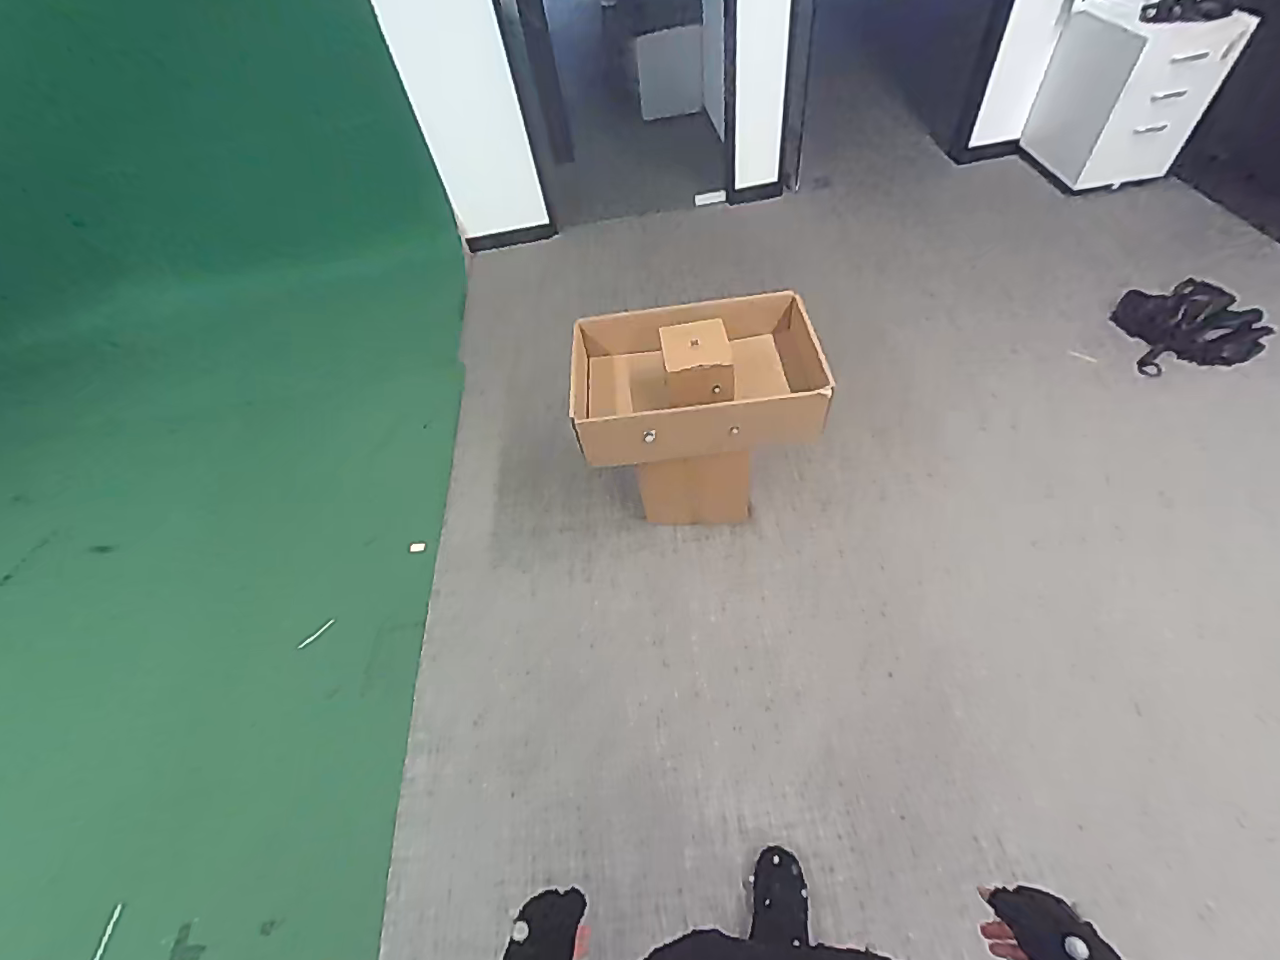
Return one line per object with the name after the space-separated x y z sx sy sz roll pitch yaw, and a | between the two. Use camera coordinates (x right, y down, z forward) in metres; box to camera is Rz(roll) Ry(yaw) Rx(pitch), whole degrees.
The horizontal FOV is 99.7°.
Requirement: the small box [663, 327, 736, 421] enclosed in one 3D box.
0.154 -0.267 1.402 0.168 0.176 0.179 -8 50 1 | small box
